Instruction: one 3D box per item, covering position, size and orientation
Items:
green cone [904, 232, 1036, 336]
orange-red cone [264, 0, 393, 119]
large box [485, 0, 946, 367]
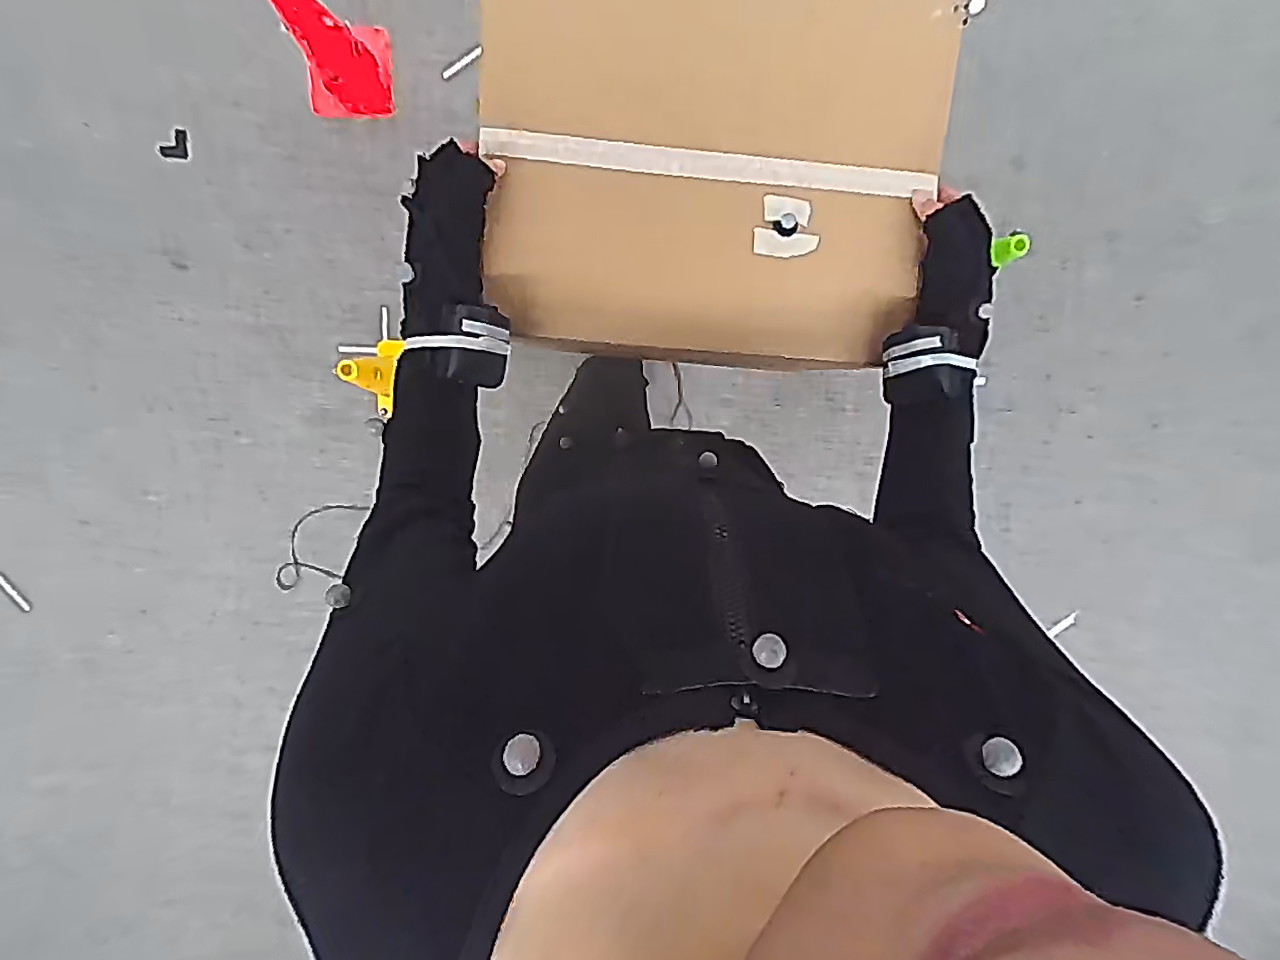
[{"bbox_3d":[0.751,-0.485,1.243,0.202,0.368,0.200,-34,97,2],"label":"green cone"},{"bbox_3d":[-0.706,-0.967,1.155,0.198,0.360,0.199,1,99,0],"label":"orange-red cone"},{"bbox_3d":[0.052,-0.304,0.628,0.408,0.320,0.320,3,100,-5],"label":"large box"}]
